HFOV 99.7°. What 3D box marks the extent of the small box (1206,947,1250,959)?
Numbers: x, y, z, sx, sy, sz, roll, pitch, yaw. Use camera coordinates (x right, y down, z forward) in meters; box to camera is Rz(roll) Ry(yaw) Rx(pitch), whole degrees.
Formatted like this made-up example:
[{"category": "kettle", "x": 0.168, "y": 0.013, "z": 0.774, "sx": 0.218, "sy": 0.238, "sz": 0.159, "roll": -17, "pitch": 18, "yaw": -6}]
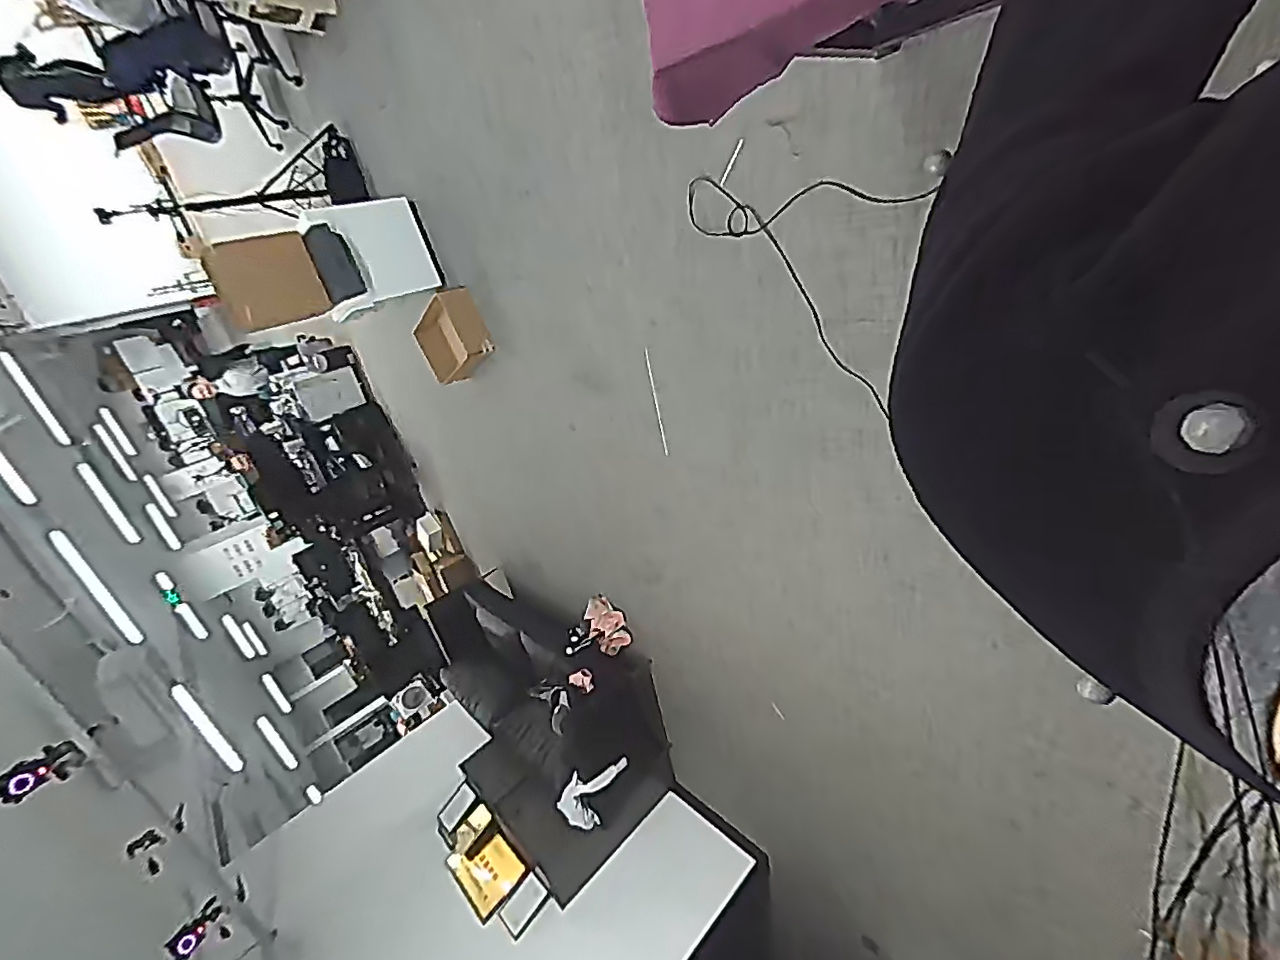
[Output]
[{"category": "small box", "x": 1.667, "y": 1.442, "z": 1.483, "sx": 0.179, "sy": 0.176, "sz": 0.168, "roll": 14, "pitch": 125, "yaw": 45}]
